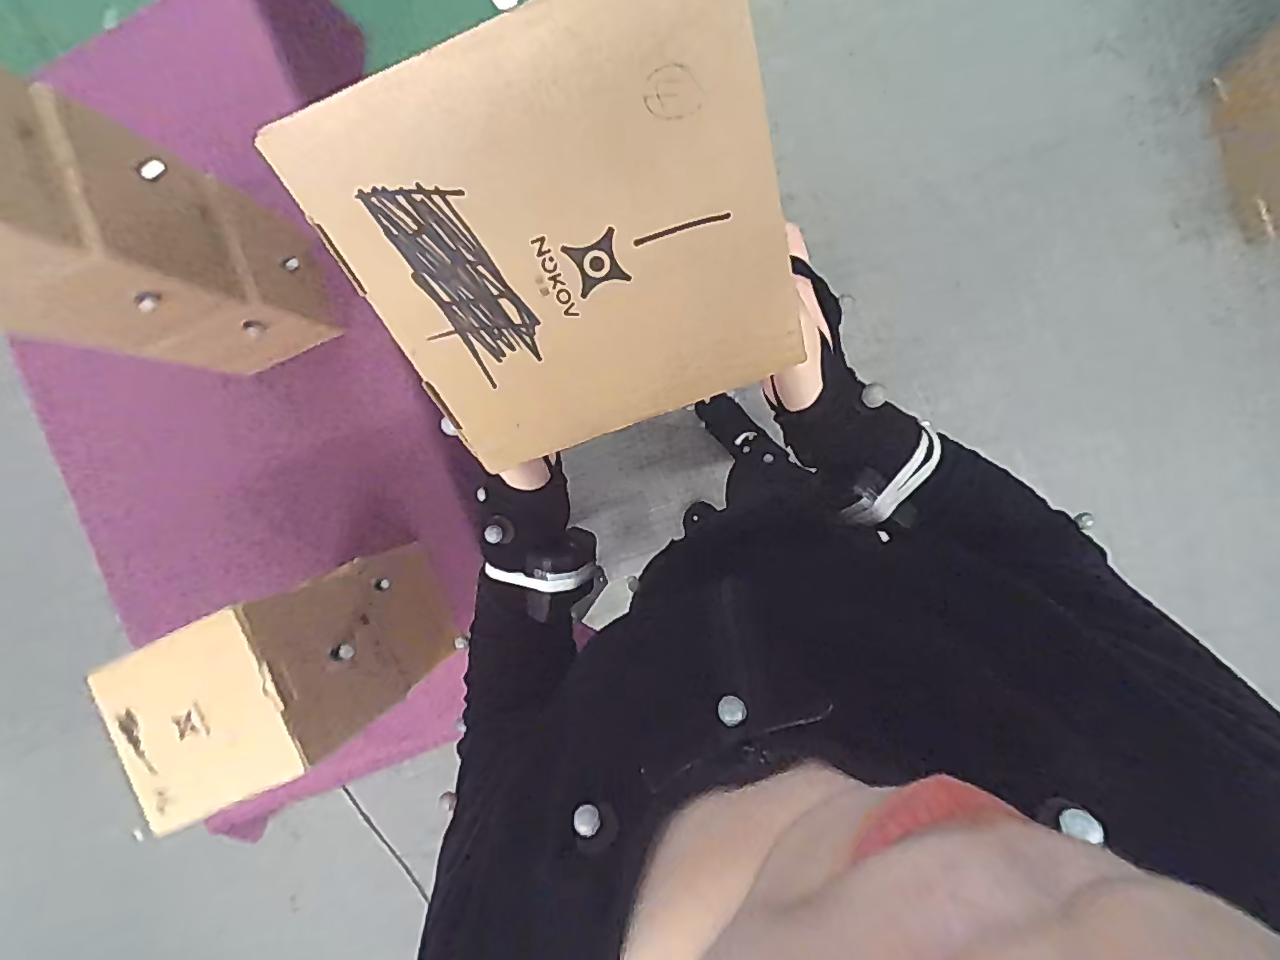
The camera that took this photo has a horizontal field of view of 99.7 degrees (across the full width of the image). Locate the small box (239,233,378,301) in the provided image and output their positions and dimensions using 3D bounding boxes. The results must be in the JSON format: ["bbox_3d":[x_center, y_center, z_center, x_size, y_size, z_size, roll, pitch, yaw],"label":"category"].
[{"bbox_3d":[-0.426,-0.369,0.761,0.179,0.176,0.168,-7,88,8],"label":"small box"}]

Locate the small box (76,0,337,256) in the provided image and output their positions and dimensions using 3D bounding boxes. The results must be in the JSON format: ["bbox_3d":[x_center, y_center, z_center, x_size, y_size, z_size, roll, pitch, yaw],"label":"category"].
[{"bbox_3d":[-0.453,-0.371,0.600,0.179,0.176,0.168,-5,88,9],"label":"small box"}]

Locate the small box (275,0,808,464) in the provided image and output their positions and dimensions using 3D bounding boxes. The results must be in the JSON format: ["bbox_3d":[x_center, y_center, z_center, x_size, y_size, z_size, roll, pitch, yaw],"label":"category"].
[{"bbox_3d":[-0.030,-0.140,0.288,0.179,0.176,0.168,-17,129,8],"label":"small box"}]
